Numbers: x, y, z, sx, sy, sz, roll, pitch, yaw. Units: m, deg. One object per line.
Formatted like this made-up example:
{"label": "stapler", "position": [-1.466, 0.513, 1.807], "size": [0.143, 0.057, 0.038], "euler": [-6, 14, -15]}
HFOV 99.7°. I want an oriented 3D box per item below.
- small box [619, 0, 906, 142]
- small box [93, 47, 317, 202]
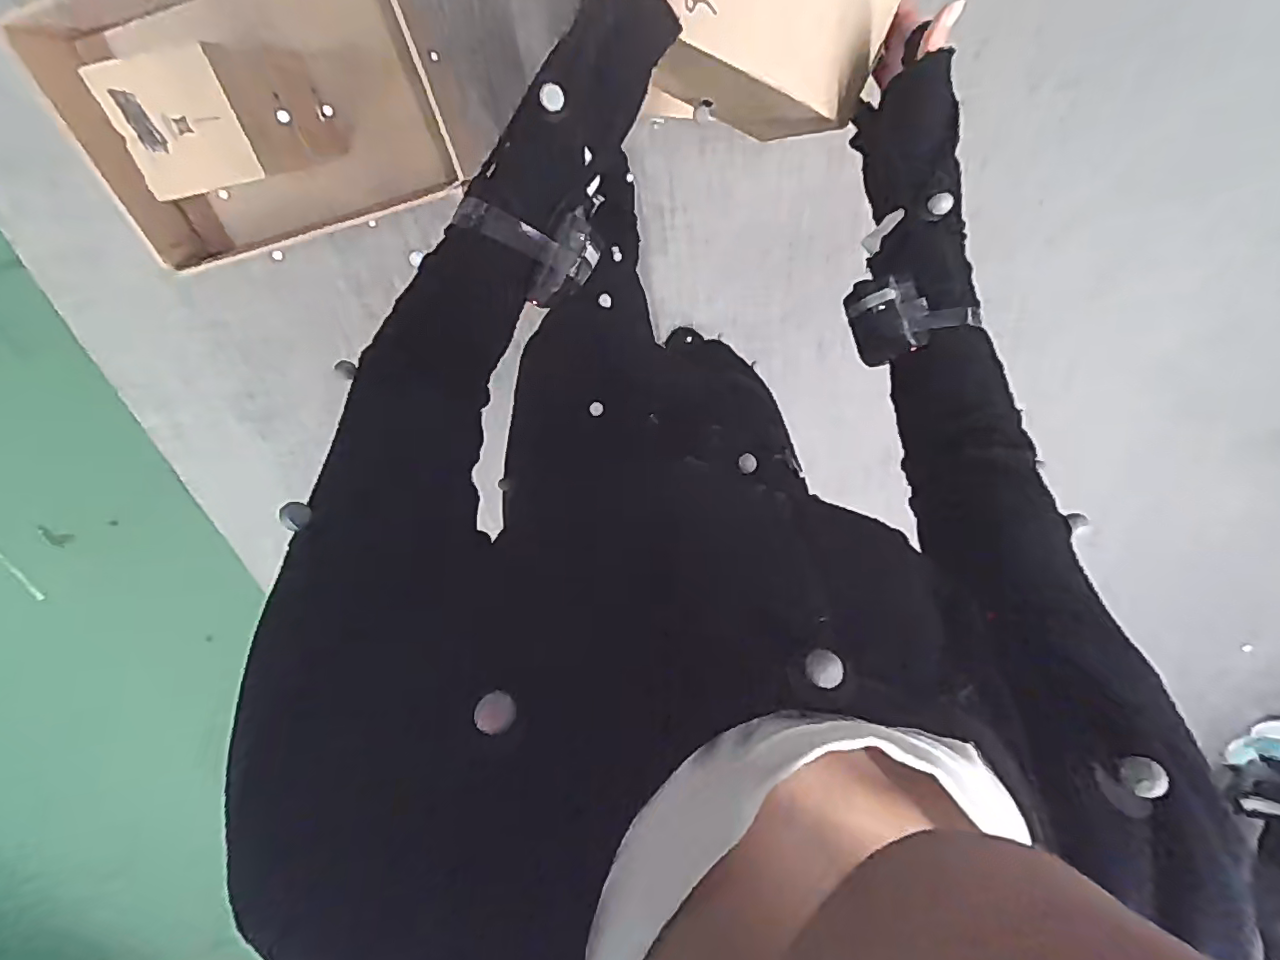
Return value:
{"label": "small box", "position": [0.100, -0.407, 0.454], "size": [0.179, 0.176, 0.168], "euler": [12, 114, -21]}
{"label": "small box", "position": [-0.651, -0.543, 0.839], "size": [0.179, 0.176, 0.168], "euler": [-11, 123, 2]}
